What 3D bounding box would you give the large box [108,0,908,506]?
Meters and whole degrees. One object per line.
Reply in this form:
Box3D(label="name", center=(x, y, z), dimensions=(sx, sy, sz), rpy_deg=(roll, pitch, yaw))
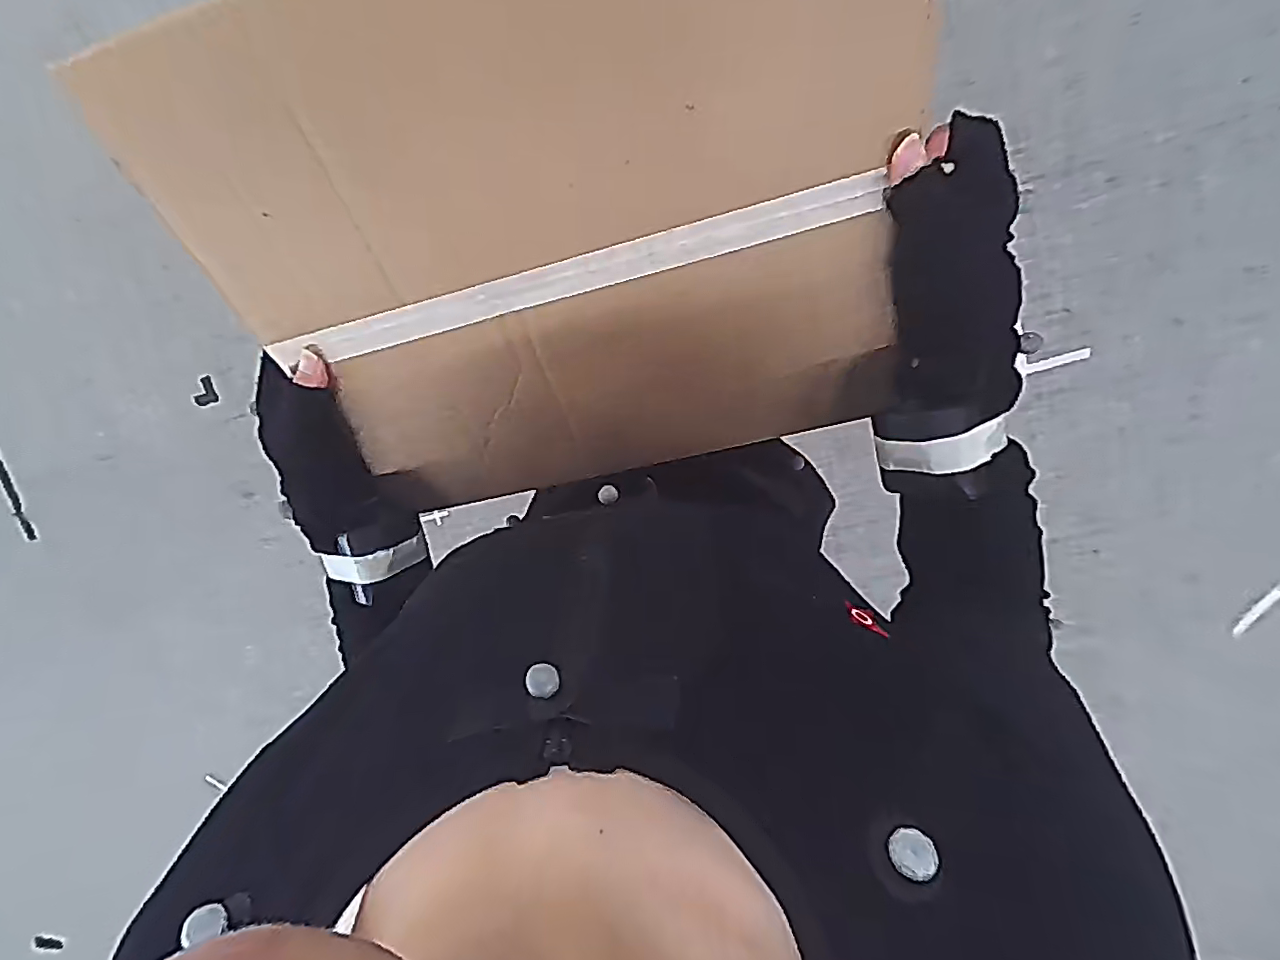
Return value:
Box3D(label="large box", center=(-0.045, -0.227, 0.447), dimensions=(0.408, 0.320, 0.320), rpy_deg=(-12, 131, 10))
